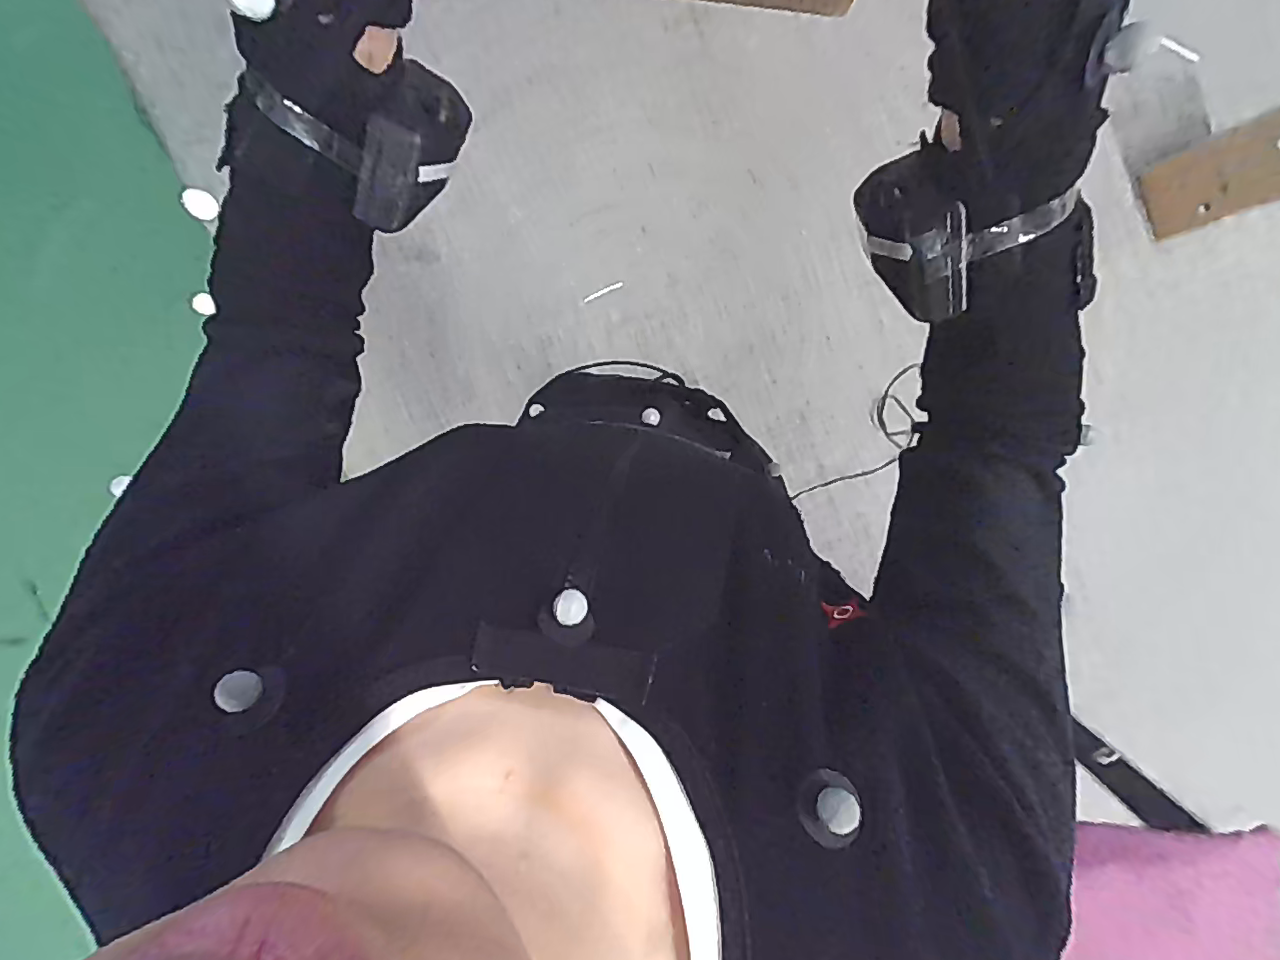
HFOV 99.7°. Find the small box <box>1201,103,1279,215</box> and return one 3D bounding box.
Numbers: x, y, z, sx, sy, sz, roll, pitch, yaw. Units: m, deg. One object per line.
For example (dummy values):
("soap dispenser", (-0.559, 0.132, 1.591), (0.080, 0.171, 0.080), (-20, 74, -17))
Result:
("small box", (1.252, -0.641, 1.029), (0.179, 0.176, 0.168), (-22, 97, 7))

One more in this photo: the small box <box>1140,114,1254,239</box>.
("small box", (1.266, -0.667, 1.191), (0.168, 0.176, 0.179), (-22, 97, 8))
